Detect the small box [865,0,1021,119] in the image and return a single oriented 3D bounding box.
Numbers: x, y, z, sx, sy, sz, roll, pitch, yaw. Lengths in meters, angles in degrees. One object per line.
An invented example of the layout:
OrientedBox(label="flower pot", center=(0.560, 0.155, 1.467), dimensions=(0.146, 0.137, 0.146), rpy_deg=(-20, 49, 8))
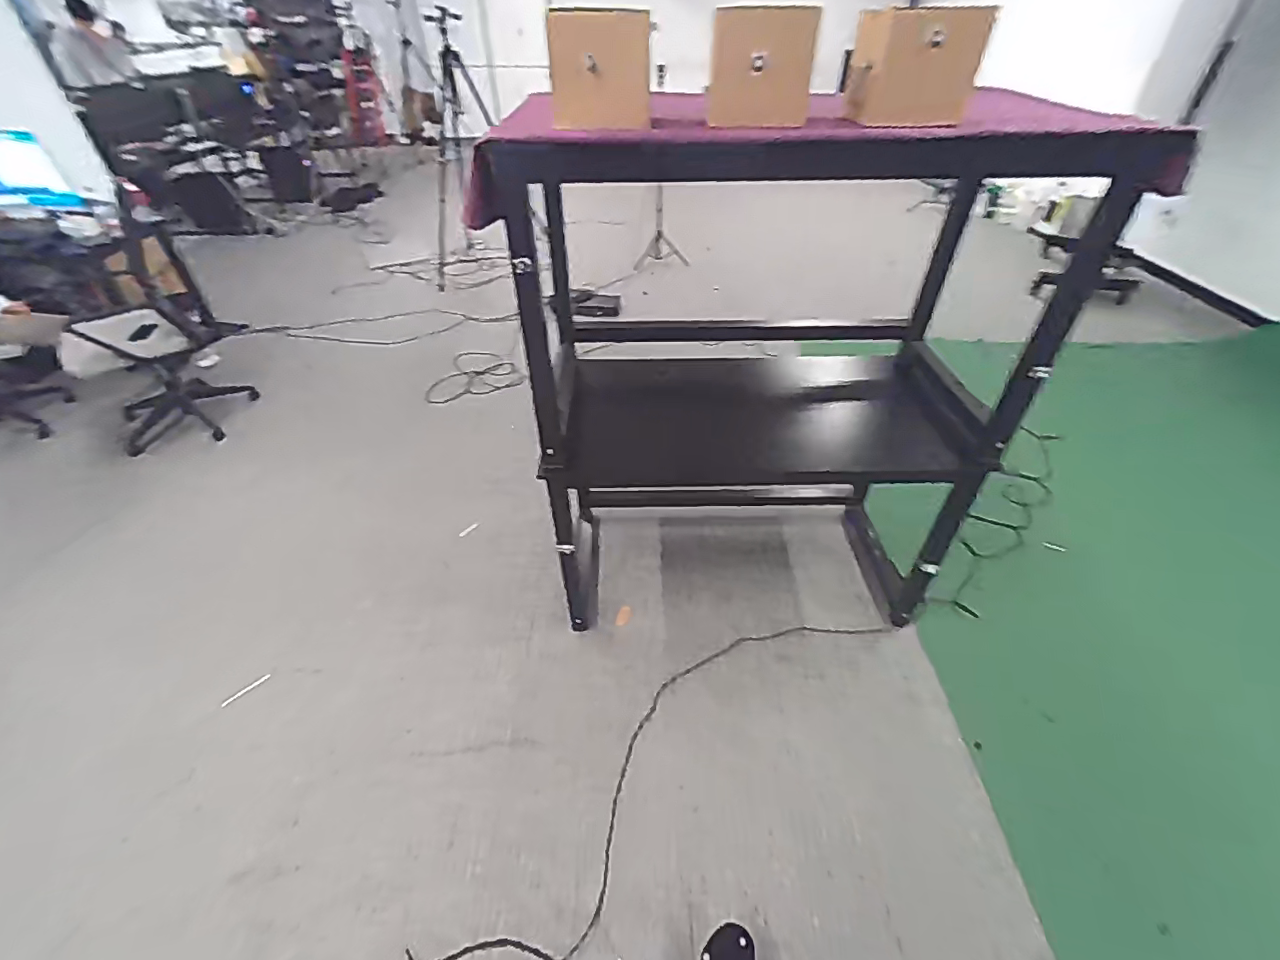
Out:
OrientedBox(label="small box", center=(0.511, -0.739, 0.943), dimensions=(0.179, 0.176, 0.168), rpy_deg=(2, 42, 1))

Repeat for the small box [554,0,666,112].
OrientedBox(label="small box", center=(-0.046, -0.757, 0.950), dimensions=(0.179, 0.176, 0.168), rpy_deg=(3, 42, 2))

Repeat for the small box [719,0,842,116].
OrientedBox(label="small box", center=(0.235, -0.753, 0.951), dimensions=(0.179, 0.176, 0.168), rpy_deg=(3, 41, 4))
